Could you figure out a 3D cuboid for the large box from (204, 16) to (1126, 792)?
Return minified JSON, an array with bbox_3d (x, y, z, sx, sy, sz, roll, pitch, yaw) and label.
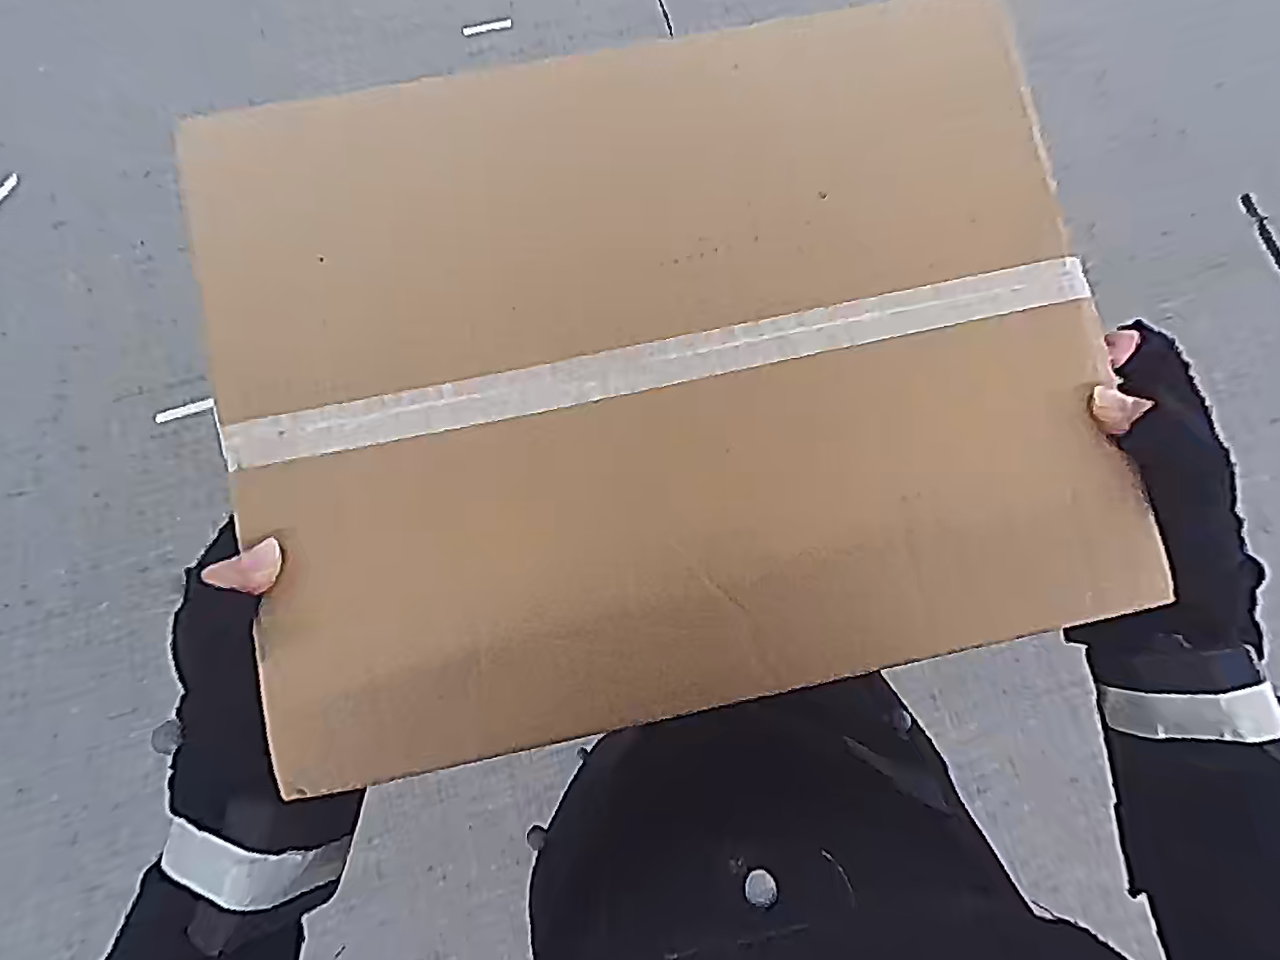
[{"bbox_3d":[0.009,-0.040,0.409,0.408,0.320,0.320,-12,85,-2],"label":"large box"}]
